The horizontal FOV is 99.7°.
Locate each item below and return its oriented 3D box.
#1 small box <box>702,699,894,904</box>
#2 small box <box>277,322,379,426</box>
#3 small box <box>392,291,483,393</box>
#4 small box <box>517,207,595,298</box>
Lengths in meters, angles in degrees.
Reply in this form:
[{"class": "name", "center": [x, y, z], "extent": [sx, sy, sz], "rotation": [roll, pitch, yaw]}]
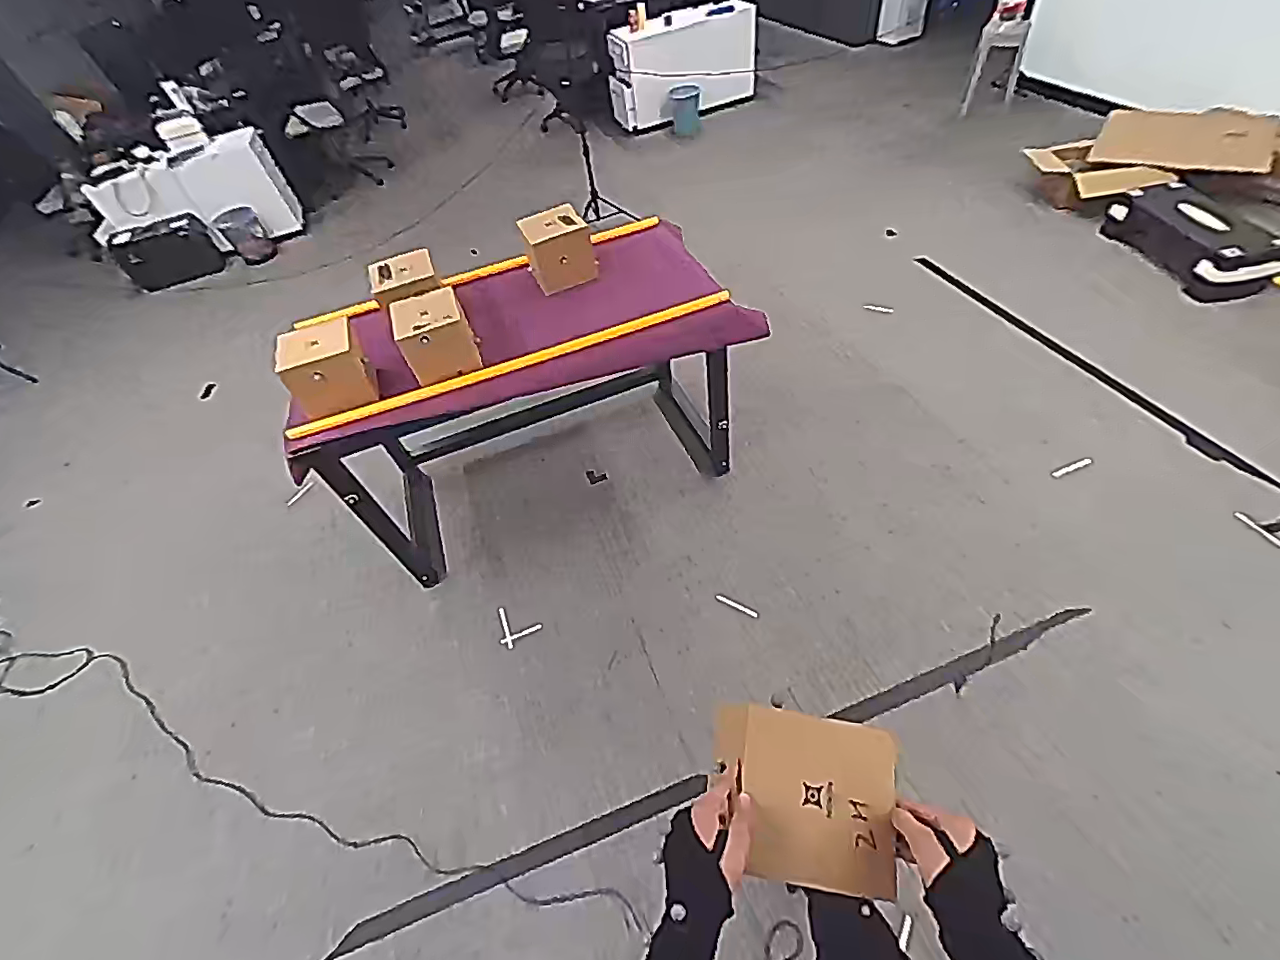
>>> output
[{"class": "small box", "center": [0.180, 0.370, 0.651], "extent": [0.179, 0.176, 0.168], "rotation": [12, 67, 0]}, {"class": "small box", "center": [-0.794, -0.271, 1.394], "extent": [0.179, 0.176, 0.168], "rotation": [-22, 51, -9]}, {"class": "small box", "center": [-0.529, -0.361, 1.420], "extent": [0.168, 0.176, 0.179], "rotation": [-21, 51, -7]}, {"class": "small box", "center": [-0.246, -0.682, 1.628], "extent": [0.179, 0.176, 0.168], "rotation": [-24, 52, -8]}]
